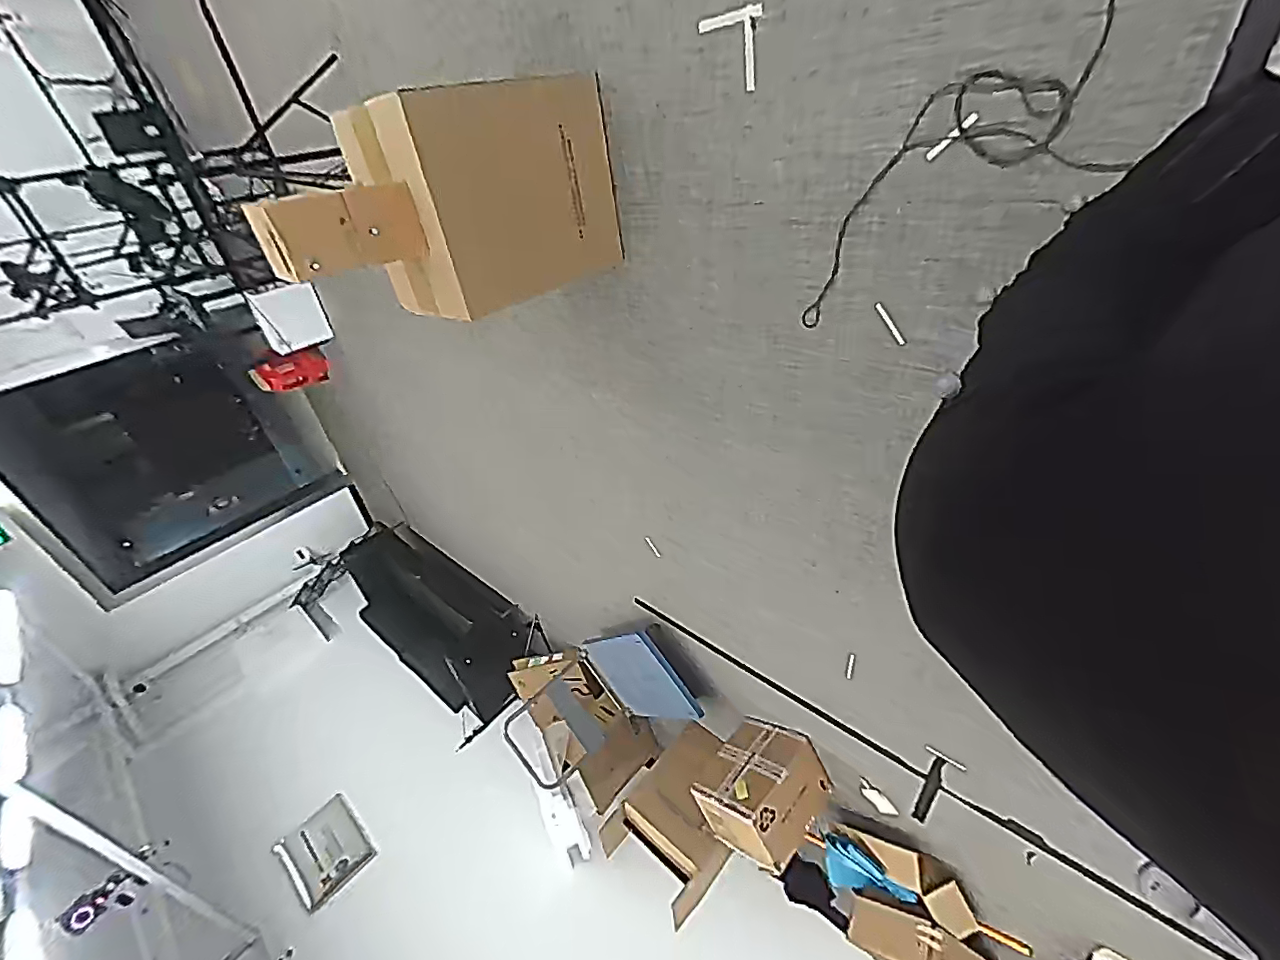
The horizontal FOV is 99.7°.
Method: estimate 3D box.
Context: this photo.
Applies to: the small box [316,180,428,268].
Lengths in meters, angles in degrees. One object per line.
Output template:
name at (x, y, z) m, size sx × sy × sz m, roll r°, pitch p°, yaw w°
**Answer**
small box at (-0.680, -0.660, 1.385) m, size 0.168 × 0.176 × 0.179 m, roll 21°, pitch 136°, yaw 38°
